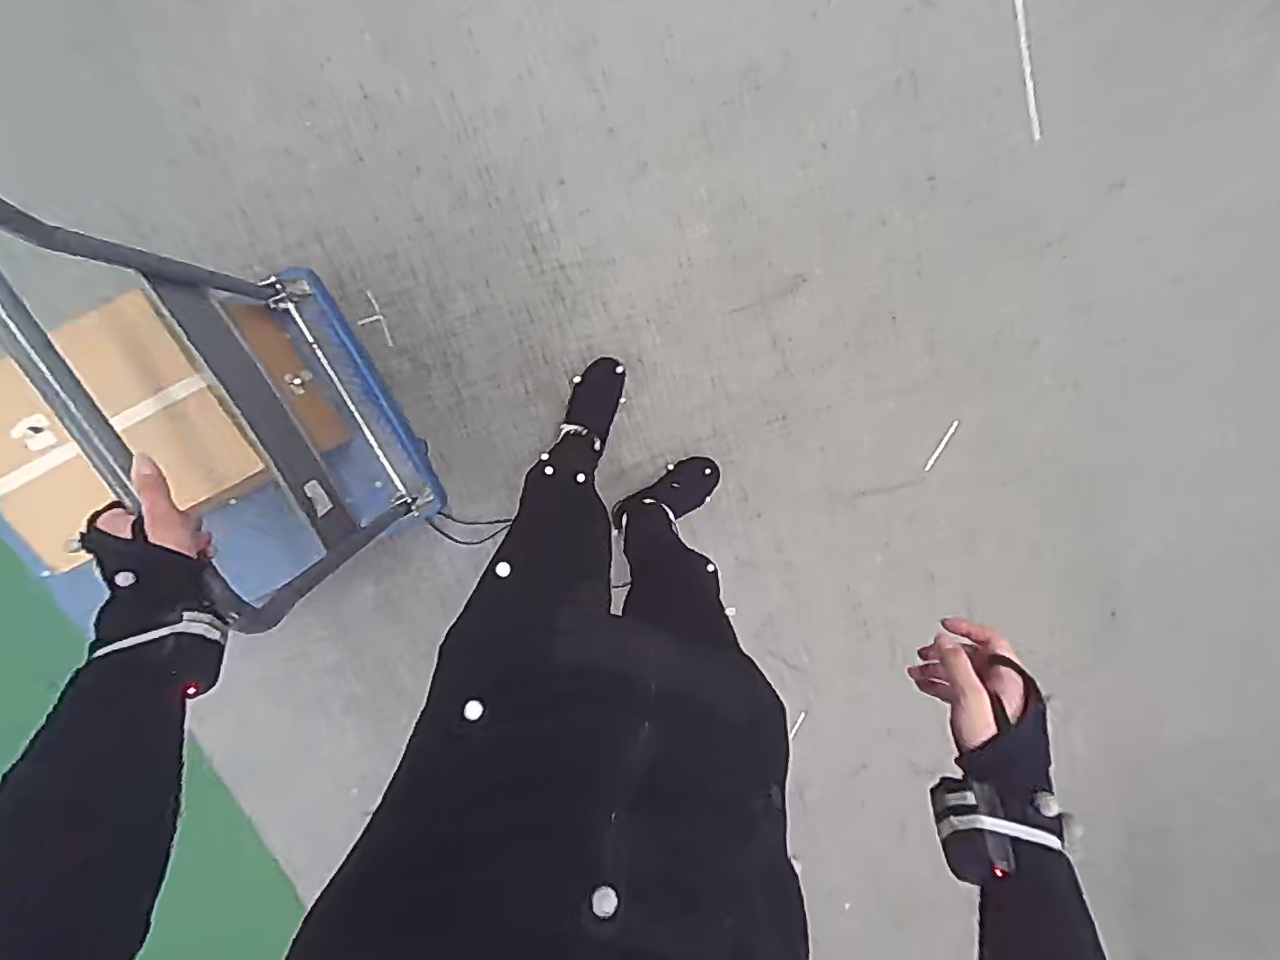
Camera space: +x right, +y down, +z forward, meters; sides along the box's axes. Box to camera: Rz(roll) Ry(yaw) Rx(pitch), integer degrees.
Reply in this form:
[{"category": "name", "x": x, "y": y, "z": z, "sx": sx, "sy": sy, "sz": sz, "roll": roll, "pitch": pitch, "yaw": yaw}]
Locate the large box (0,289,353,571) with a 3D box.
[{"category": "large box", "x": -0.843, "y": -0.104, "z": 0.993, "sx": 0.408, "sy": 0.320, "sz": 0.320, "roll": -26, "pitch": 103, "yaw": 4}]
